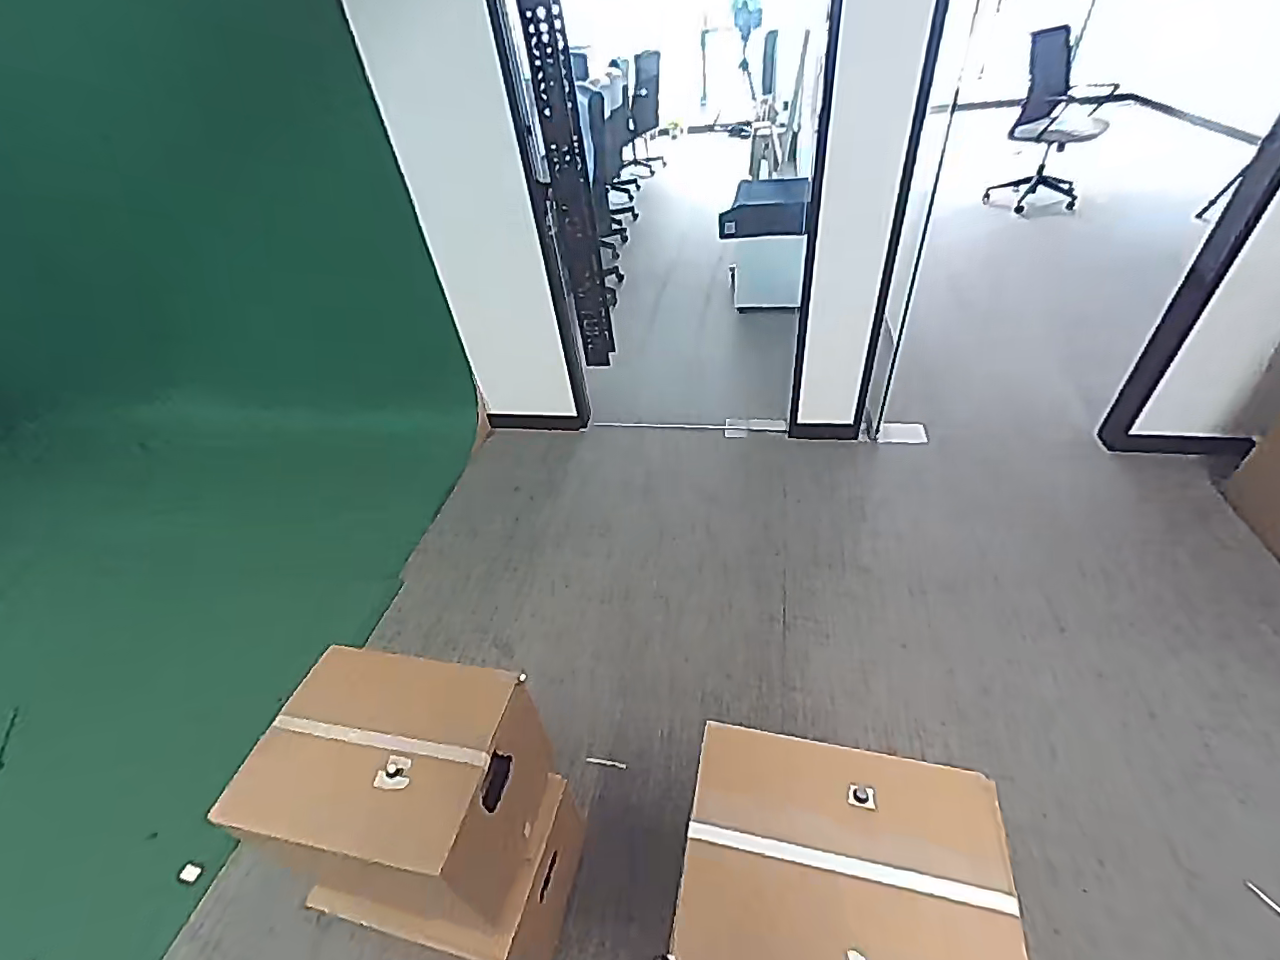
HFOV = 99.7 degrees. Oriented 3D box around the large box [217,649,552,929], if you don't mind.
[{"bbox_3d":[-0.419,0.552,0.993,0.408,0.320,0.320,5,40,12],"label":"large box"}]
